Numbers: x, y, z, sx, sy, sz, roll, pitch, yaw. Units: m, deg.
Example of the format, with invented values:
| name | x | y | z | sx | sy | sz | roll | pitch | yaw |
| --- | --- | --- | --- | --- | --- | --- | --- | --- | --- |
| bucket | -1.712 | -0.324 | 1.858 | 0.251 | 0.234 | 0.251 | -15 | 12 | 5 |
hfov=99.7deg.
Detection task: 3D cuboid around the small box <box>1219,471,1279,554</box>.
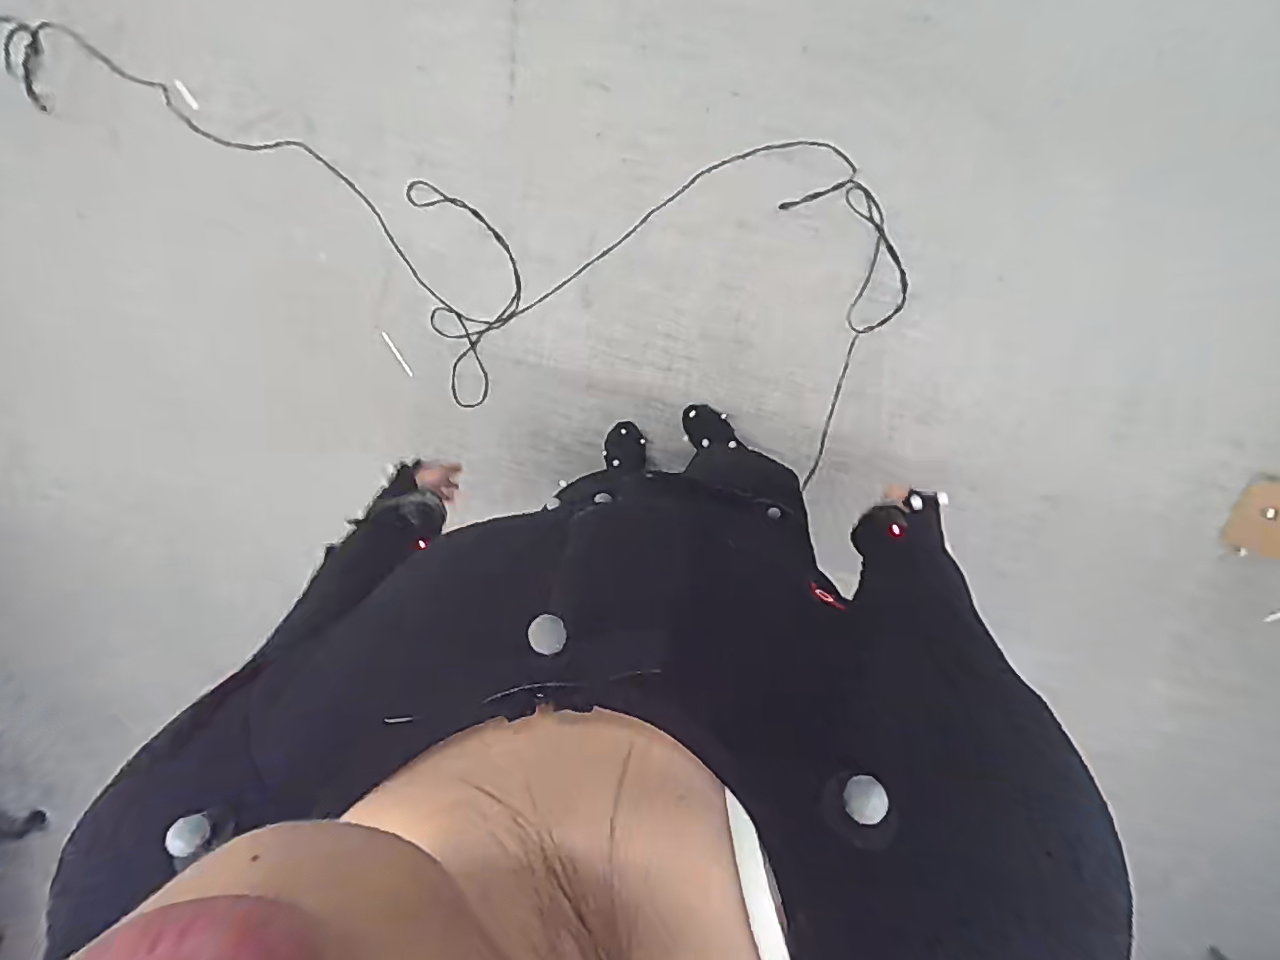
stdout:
| name | x | y | z | sx | sy | sz | roll | pitch | yaw |
| --- | --- | --- | --- | --- | --- | --- | --- | --- | --- |
| small box | 1.540 | 0.091 | 1.266 | 0.168 | 0.176 | 0.179 | 15 | 100 | 4 |
